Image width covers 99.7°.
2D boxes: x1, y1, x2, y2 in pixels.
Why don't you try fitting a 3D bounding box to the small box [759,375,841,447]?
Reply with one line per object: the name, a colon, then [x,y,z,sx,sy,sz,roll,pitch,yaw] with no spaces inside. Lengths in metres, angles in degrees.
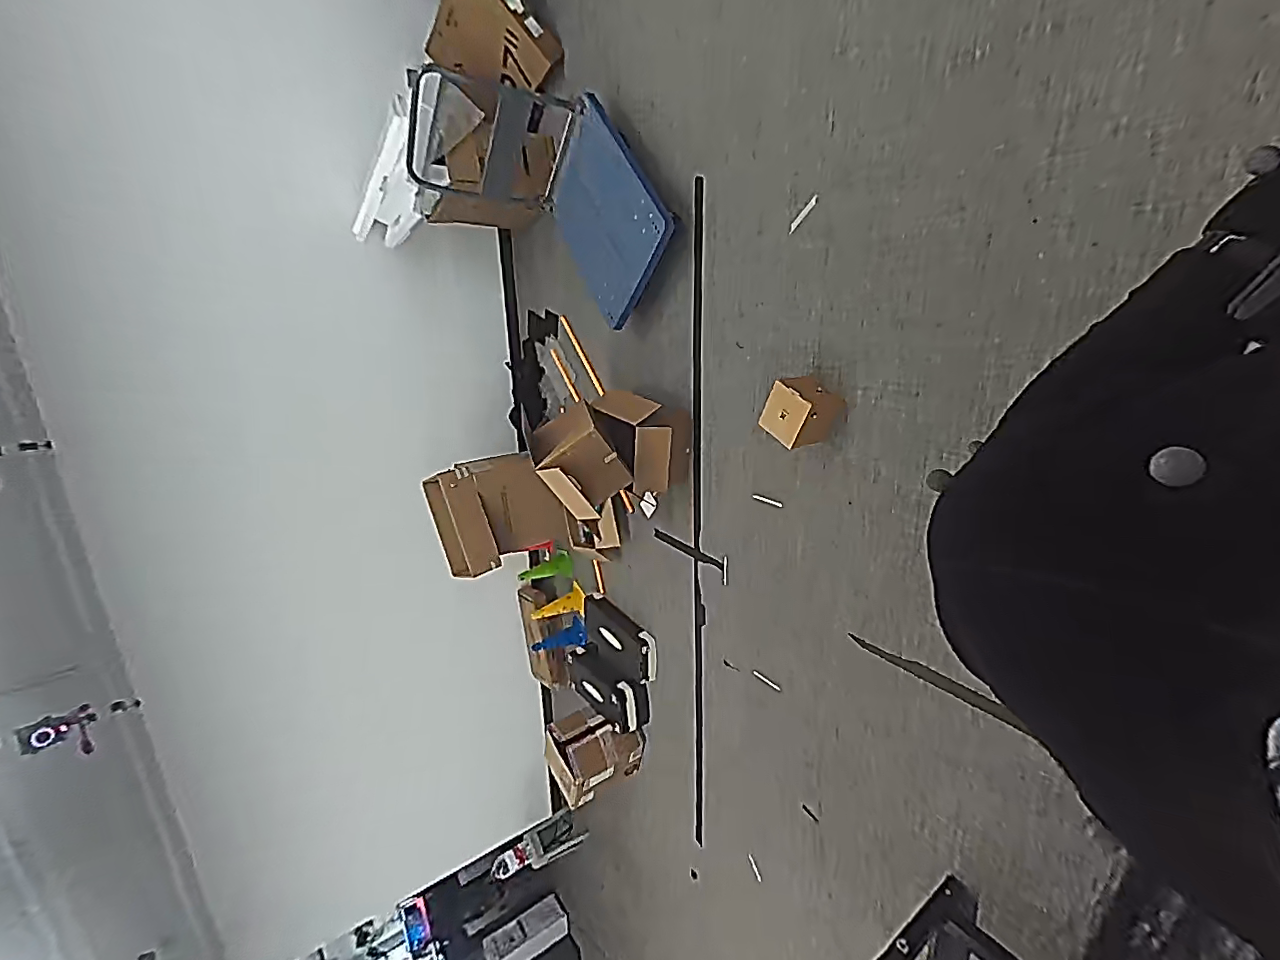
small box: [0.534,-0.235,1.803,0.168,0.176,0.179,49,137,37]
